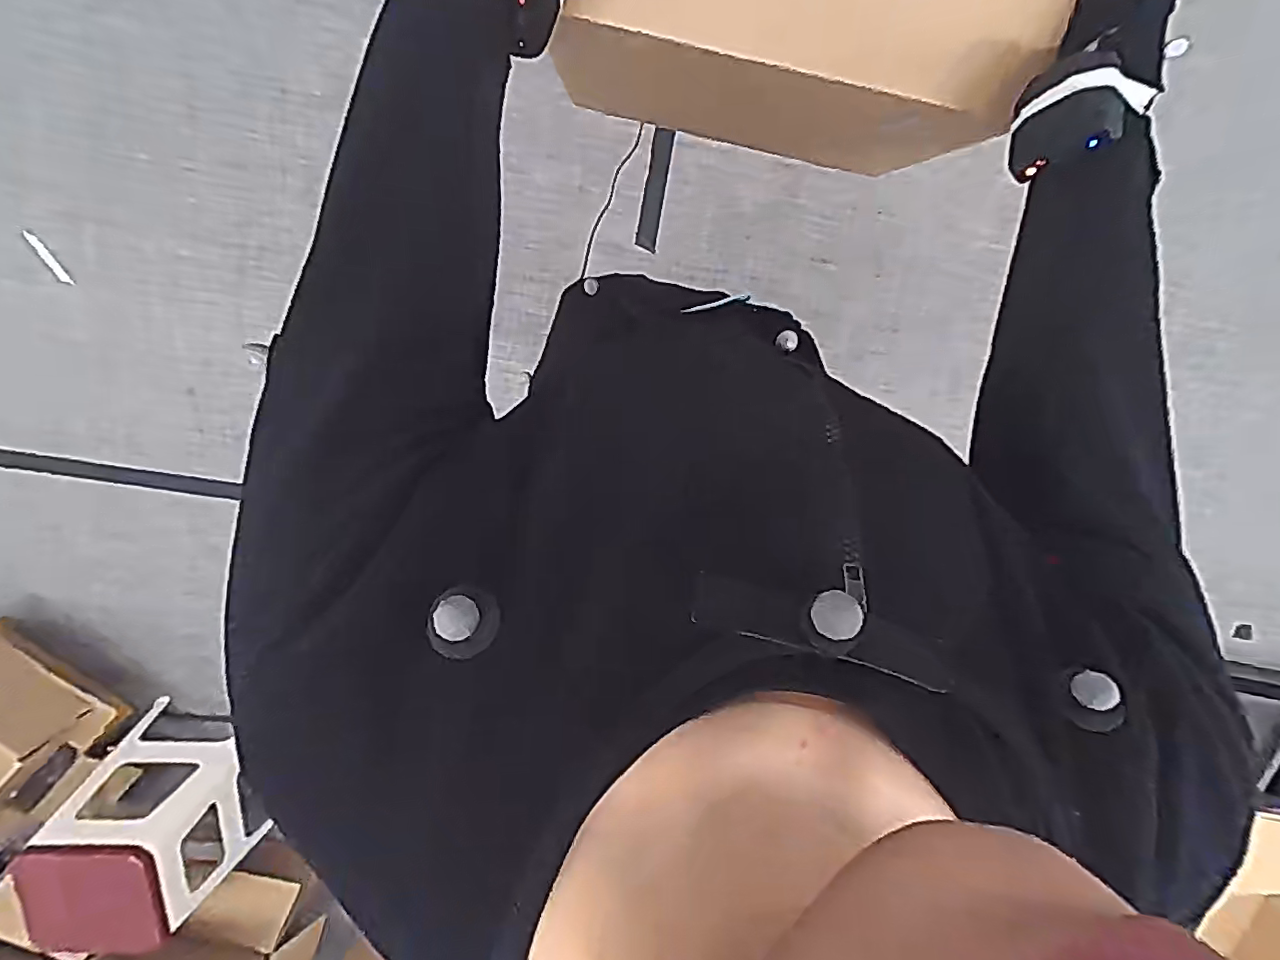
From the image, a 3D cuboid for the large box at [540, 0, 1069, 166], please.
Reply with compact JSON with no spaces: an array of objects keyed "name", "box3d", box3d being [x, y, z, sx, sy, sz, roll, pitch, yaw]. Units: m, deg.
[{"name":"large box","box3d":[0.141,-0.521,0.498,0.408,0.320,0.320,10,114,-5]}]
